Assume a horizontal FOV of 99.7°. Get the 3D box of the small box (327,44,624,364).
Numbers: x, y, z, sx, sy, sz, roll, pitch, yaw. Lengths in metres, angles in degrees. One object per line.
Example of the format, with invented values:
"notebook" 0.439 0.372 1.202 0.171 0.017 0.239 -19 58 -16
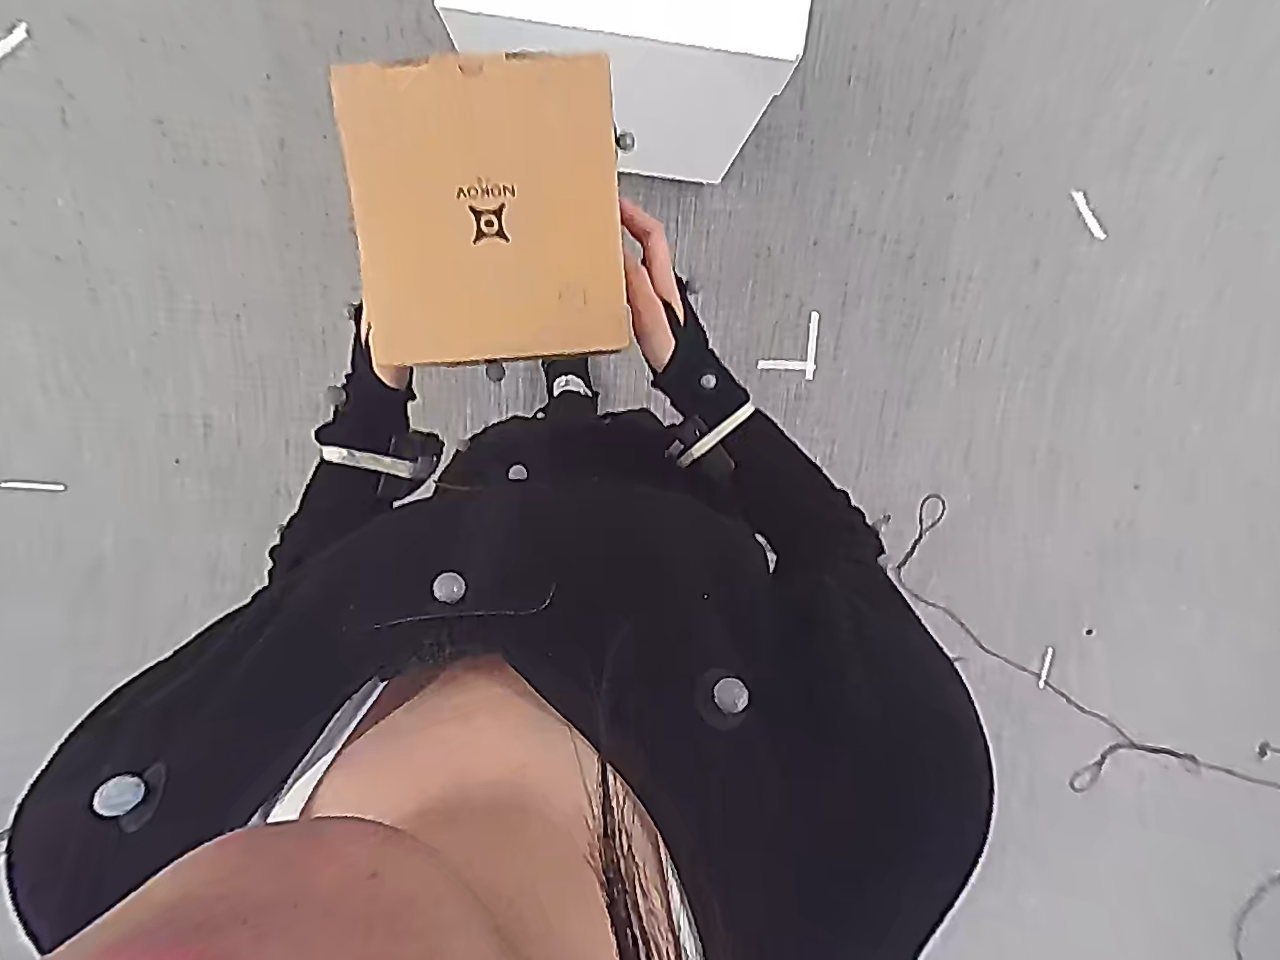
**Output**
"small box" -0.100 -0.183 0.412 0.168 0.176 0.179 -5 101 -3
